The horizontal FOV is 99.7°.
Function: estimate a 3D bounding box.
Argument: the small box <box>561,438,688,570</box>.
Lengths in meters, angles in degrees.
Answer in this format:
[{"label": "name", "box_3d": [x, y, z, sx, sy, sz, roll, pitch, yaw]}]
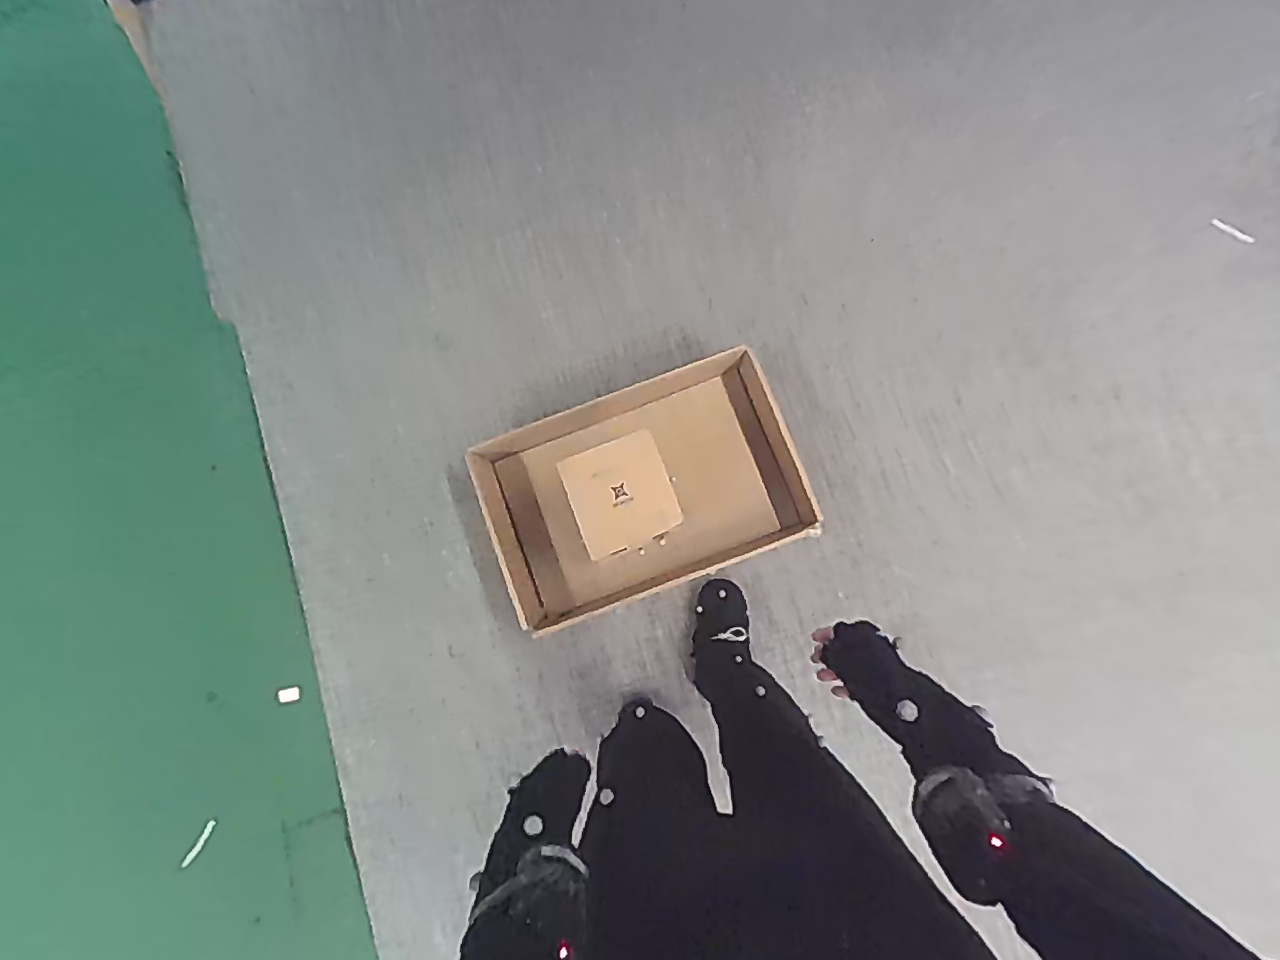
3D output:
[{"label": "small box", "box_3d": [-0.023, 0.048, 0.953, 0.168, 0.176, 0.179, -21, 81, -1]}]
